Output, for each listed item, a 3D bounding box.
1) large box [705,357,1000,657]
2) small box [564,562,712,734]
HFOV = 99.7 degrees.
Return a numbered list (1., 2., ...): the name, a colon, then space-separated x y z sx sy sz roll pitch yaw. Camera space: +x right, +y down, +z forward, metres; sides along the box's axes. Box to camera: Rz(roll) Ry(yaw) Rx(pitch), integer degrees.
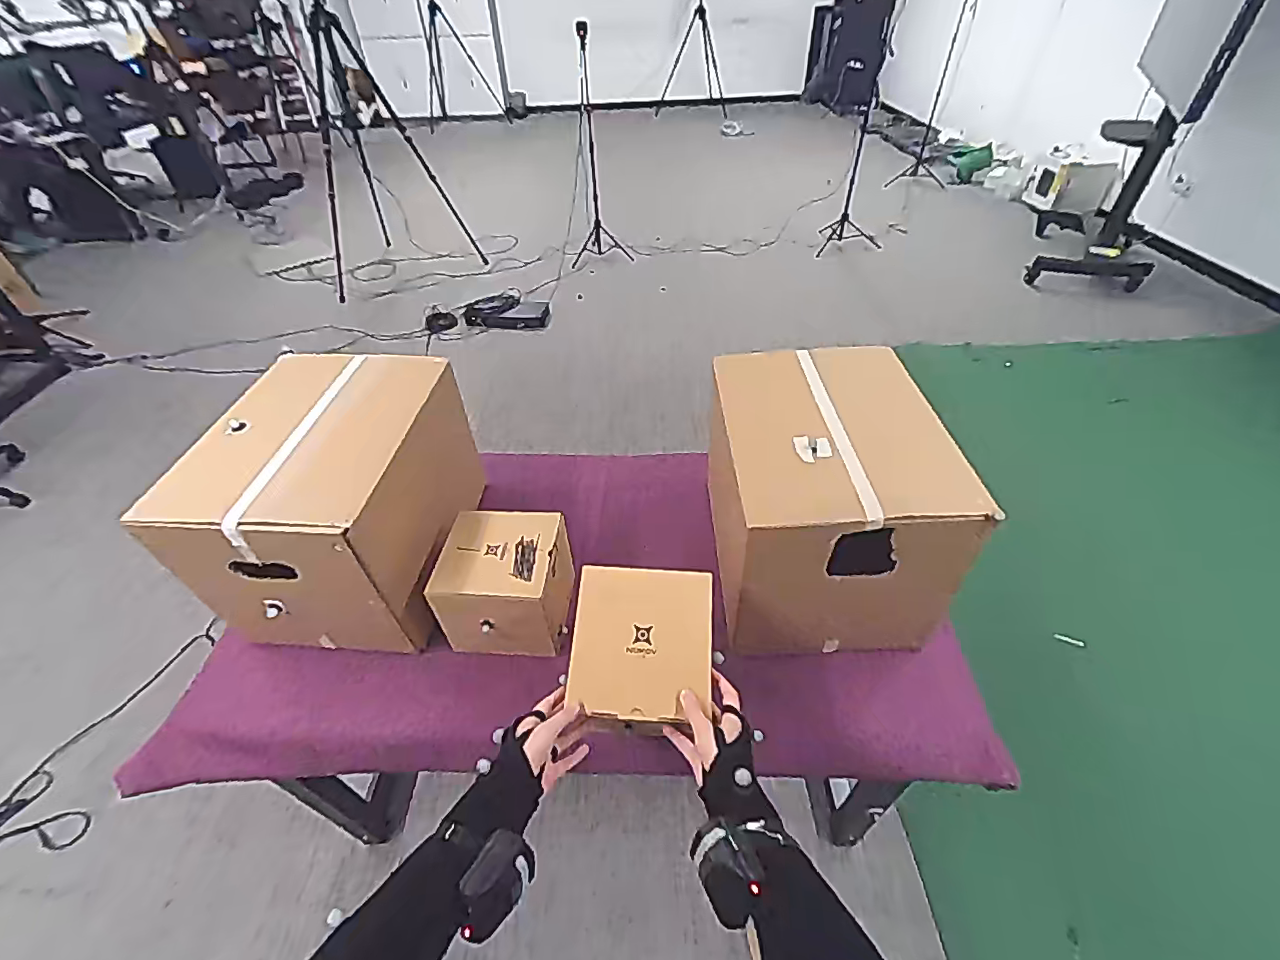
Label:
1. large box: 0.289 0.035 0.903 0.320 0.320 0.408 -3 43 2
2. small box: 0.002 0.224 0.710 0.168 0.176 0.179 3 60 3
